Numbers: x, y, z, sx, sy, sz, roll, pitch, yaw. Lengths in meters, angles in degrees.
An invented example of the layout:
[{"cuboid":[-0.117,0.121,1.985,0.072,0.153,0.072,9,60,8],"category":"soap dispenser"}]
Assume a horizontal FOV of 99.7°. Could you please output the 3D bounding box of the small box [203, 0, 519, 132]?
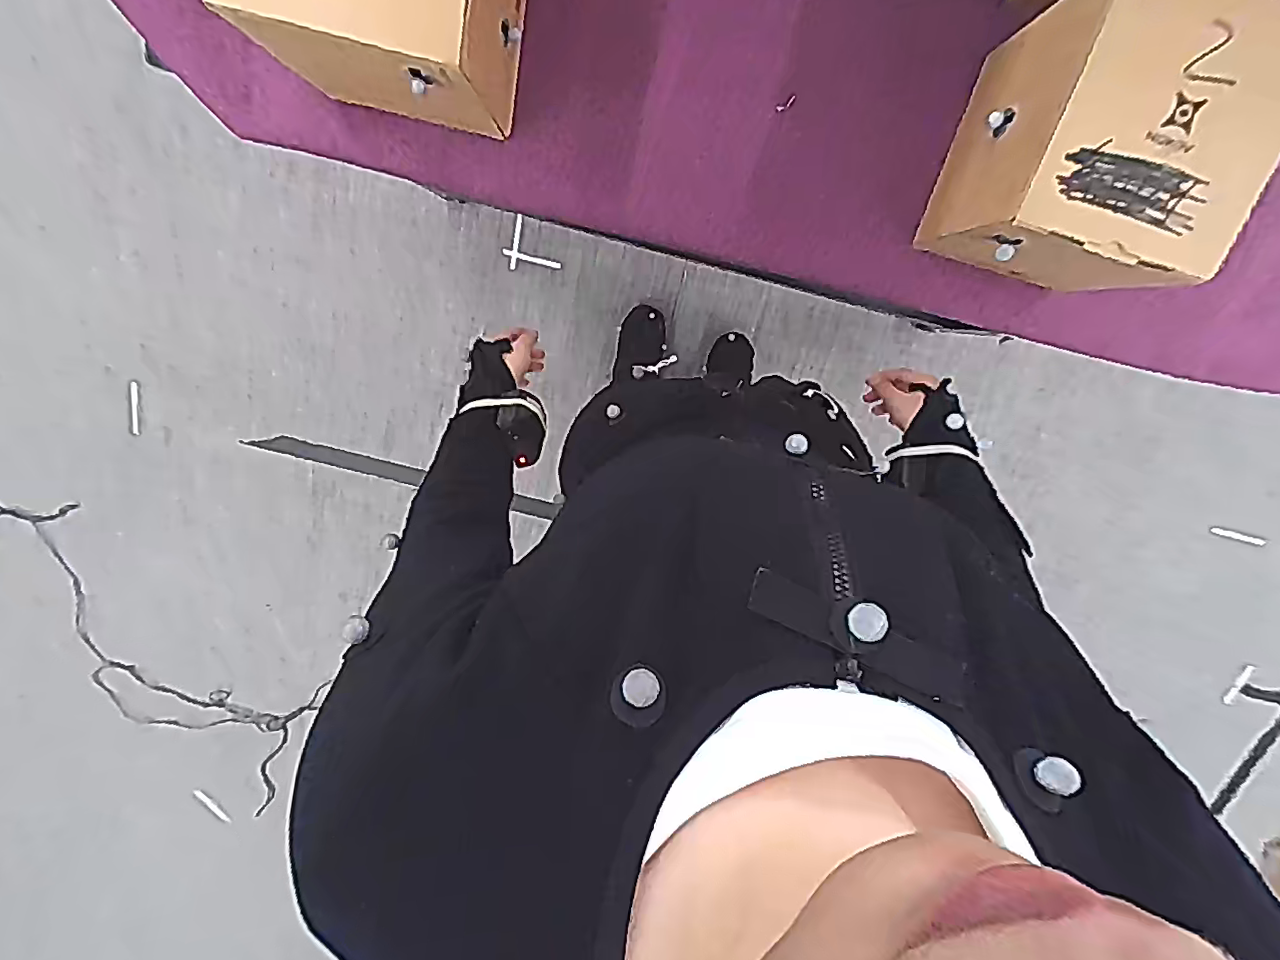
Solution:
[{"cuboid":[-0.204,-0.408,0.432,0.179,0.176,0.168,10,107,-6],"category":"small box"}]
